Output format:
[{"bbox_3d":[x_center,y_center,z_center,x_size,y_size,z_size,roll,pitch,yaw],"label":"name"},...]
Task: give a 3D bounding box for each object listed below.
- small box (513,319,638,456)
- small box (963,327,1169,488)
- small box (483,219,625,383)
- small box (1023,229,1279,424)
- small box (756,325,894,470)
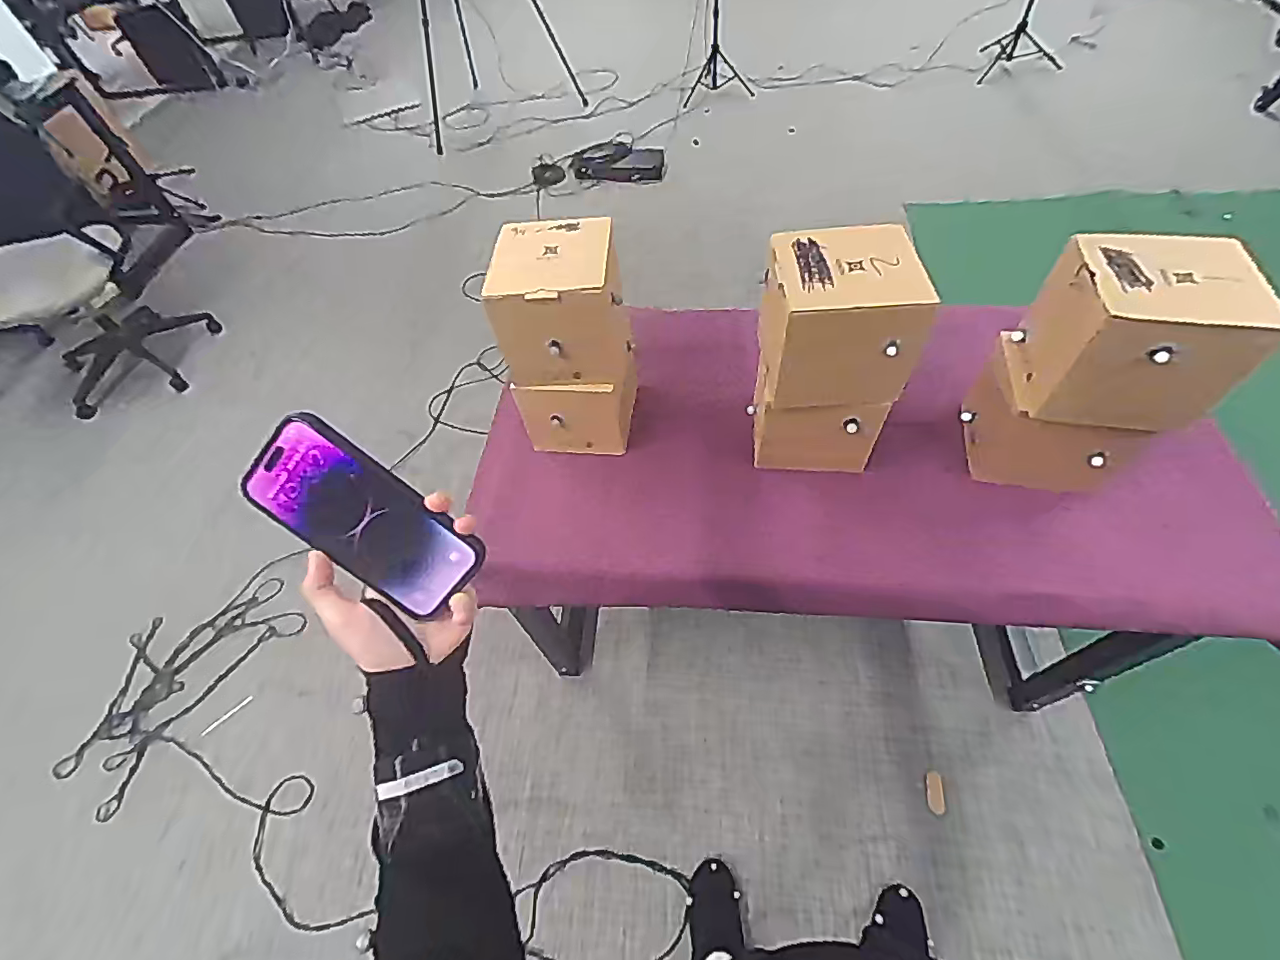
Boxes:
[{"bbox_3d":[-0.100,-0.157,0.939,0.168,0.176,0.179,2,55,9],"label":"small box"},{"bbox_3d":[0.618,-0.105,0.811,0.179,0.176,0.168,7,56,12],"label":"small box"},{"bbox_3d":[-0.116,-0.259,0.811,0.168,0.176,0.179,-2,55,5],"label":"small box"},{"bbox_3d":[0.608,-0.187,0.669,0.179,0.176,0.168,7,56,11],"label":"small box"},{"bbox_3d":[0.283,-0.128,0.868,0.179,0.176,0.168,2,55,9],"label":"small box"}]
